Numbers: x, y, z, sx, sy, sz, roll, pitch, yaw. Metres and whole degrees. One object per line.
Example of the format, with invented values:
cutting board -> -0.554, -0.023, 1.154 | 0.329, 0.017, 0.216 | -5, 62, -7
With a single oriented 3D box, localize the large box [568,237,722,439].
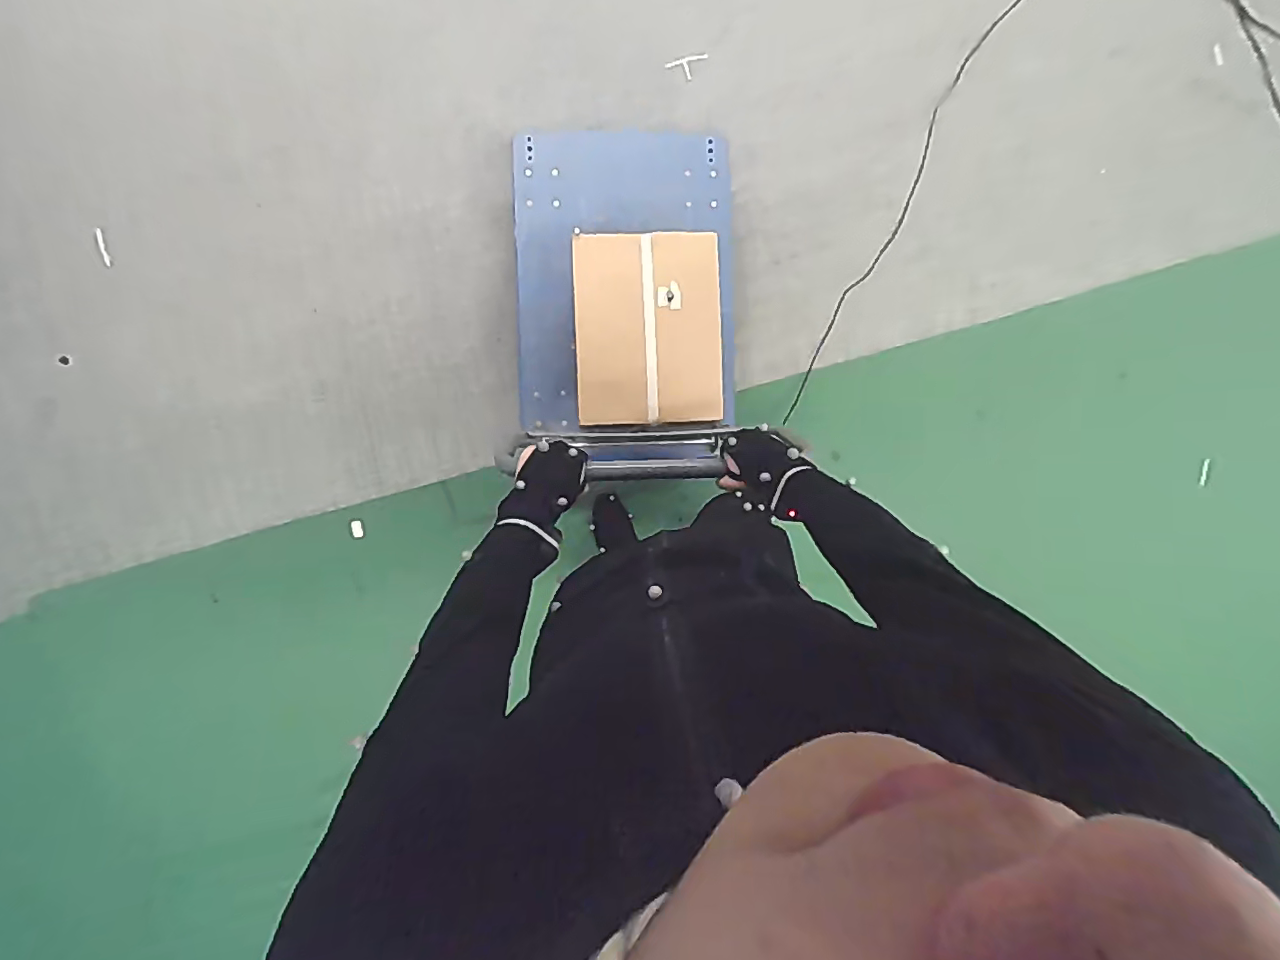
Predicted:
large box -> 0.003, -0.316, 1.304 | 0.320, 0.320, 0.408 | -3, 90, -5
